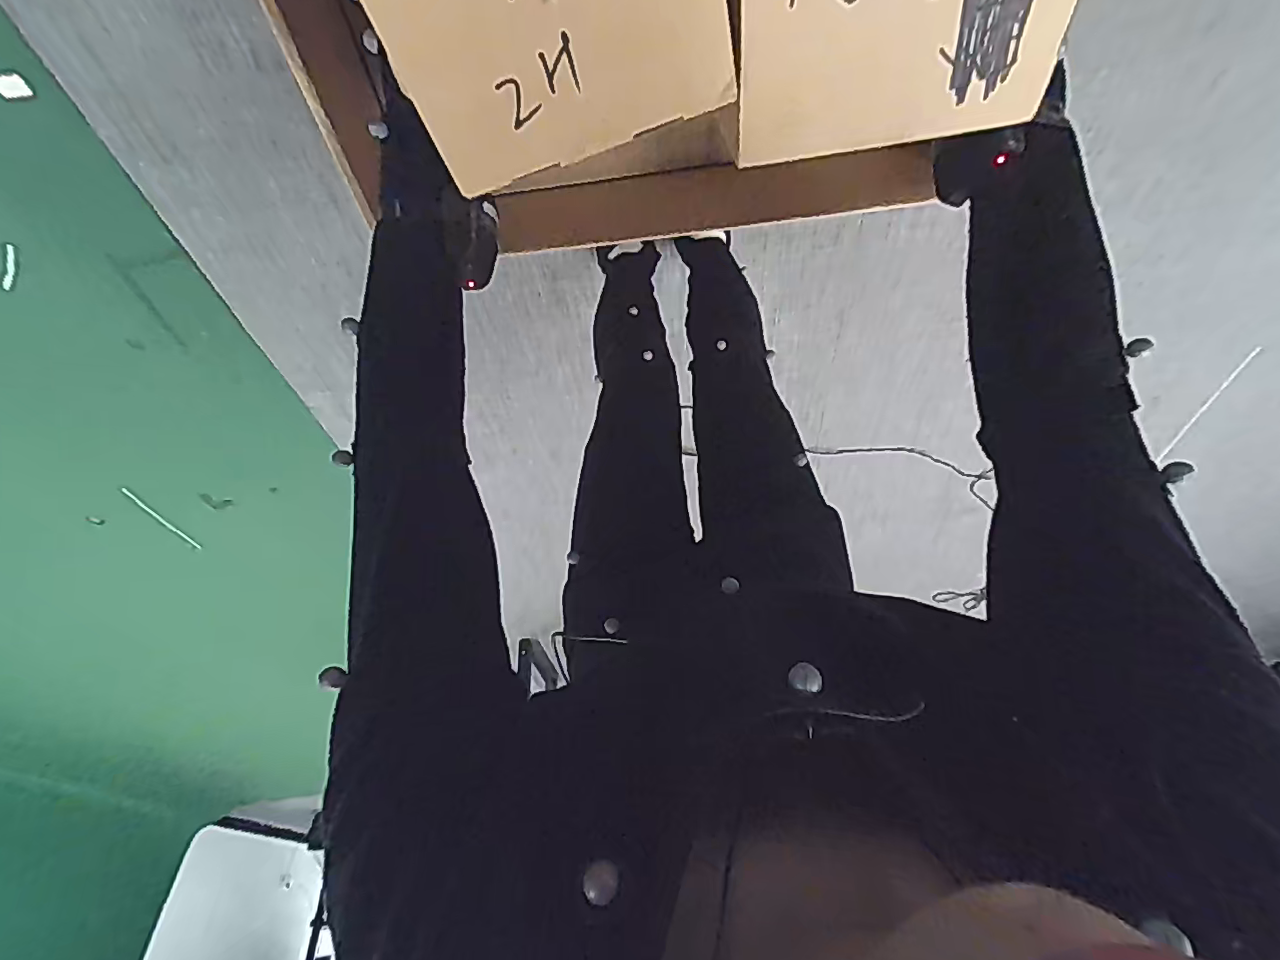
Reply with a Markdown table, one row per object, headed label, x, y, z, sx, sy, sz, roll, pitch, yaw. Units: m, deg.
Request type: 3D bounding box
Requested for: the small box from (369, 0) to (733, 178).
| label | x | y | z | sx | sy | sz | roll | pitch | yaw |
| --- | --- | --- | --- | --- | --- | --- | --- | --- | --- |
| small box | -0.058 | -0.305 | 0.293 | 0.168 | 0.176 | 0.179 | -14 | 137 | 9 |
